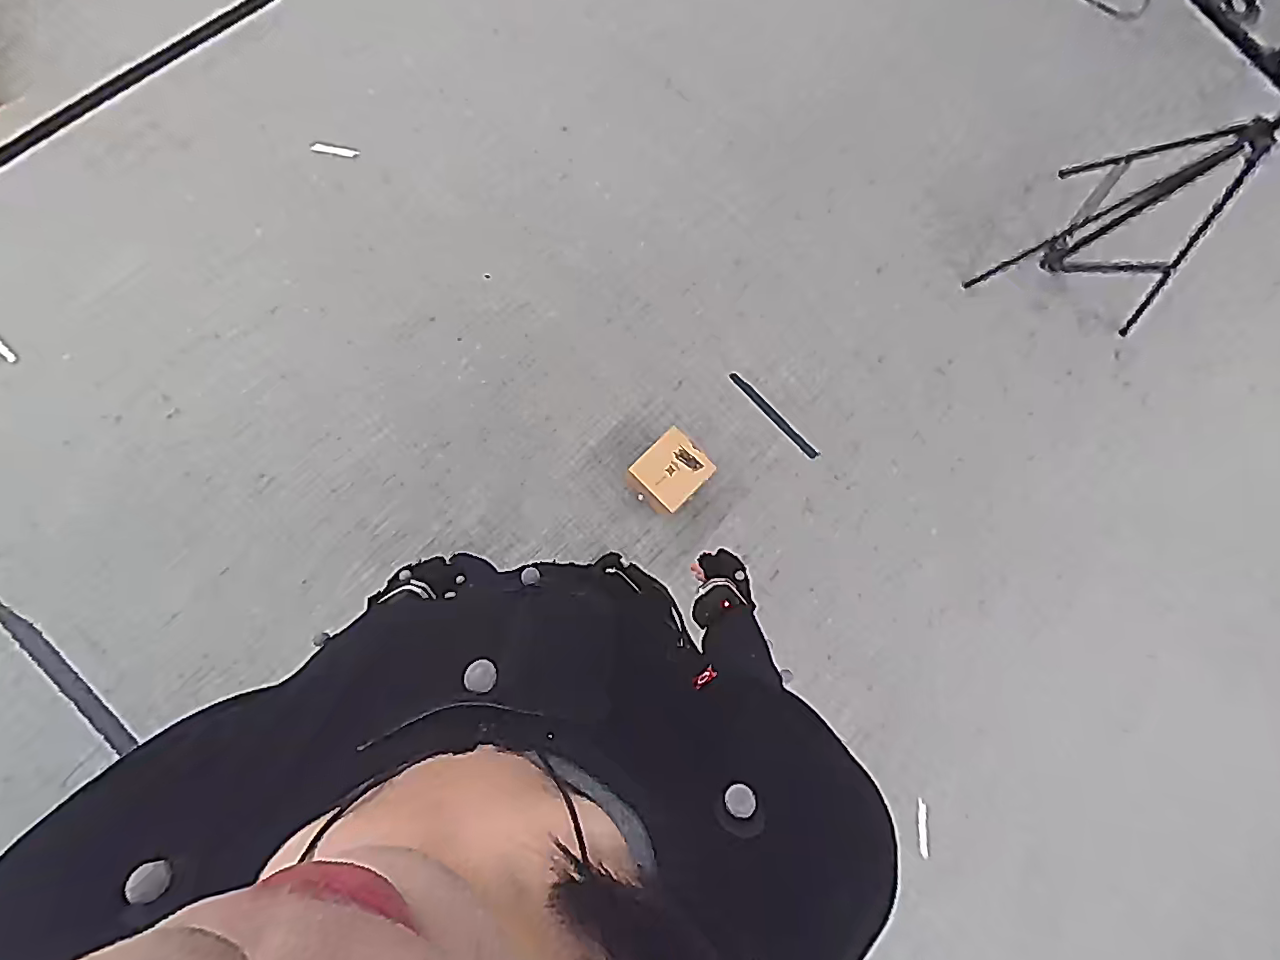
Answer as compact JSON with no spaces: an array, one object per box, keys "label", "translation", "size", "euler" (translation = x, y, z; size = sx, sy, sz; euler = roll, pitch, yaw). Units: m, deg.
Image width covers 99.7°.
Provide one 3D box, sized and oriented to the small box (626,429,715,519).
[{"label":"small box","translation":[0.075,-0.011,1.501],"size":[0.179,0.176,0.168],"euler":[-44,89,-10]}]
